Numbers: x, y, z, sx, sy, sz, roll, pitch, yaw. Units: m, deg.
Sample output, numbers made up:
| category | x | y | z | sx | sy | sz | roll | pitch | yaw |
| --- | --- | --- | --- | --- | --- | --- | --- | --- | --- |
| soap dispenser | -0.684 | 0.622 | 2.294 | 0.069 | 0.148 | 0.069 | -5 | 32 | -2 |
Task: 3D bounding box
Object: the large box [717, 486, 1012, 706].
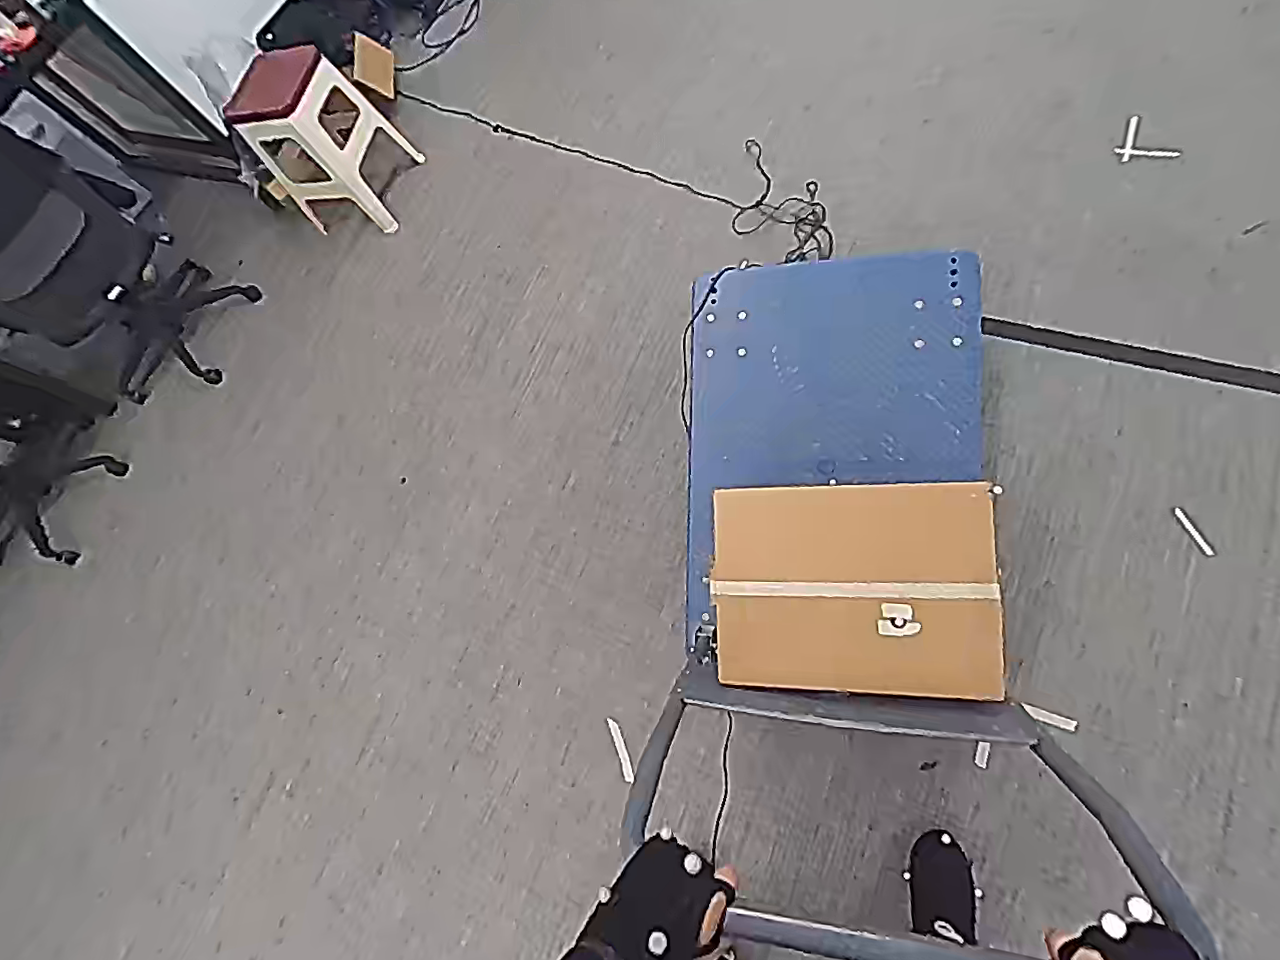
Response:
| category | x | y | z | sx | sy | sz | roll | pitch | yaw |
| --- | --- | --- | --- | --- | --- | --- | --- | --- | --- |
| large box | 0.352 | 0.178 | 0.946 | 0.408 | 0.320 | 0.320 | -2 | 87 | 14 |
